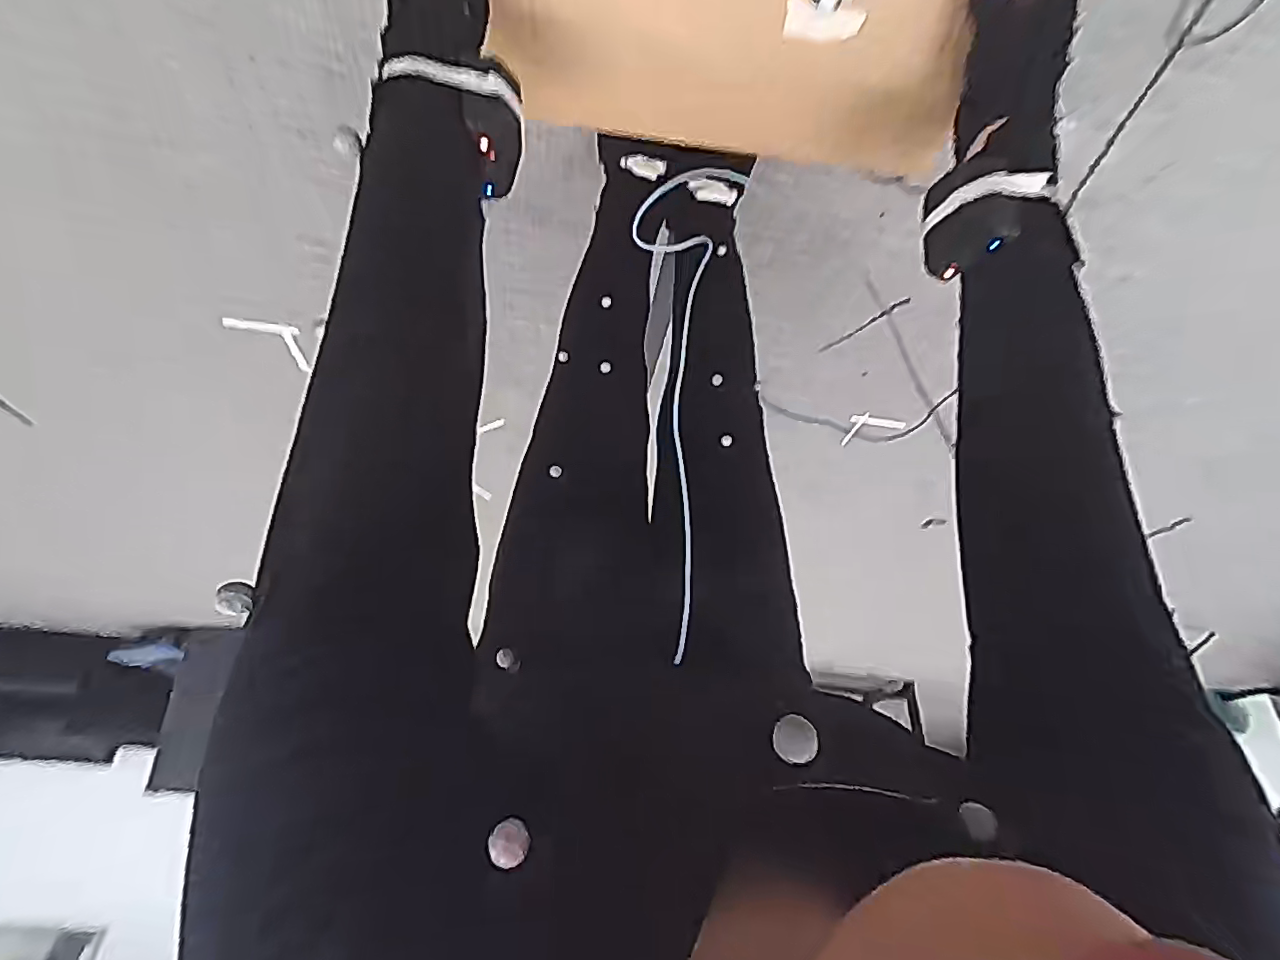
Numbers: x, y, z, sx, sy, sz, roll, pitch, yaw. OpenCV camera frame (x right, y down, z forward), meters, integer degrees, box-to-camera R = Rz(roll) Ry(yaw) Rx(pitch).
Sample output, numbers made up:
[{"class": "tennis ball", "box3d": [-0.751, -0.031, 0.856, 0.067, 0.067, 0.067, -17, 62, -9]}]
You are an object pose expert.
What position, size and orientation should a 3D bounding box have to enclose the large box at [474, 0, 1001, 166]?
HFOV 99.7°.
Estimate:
[{"class": "large box", "box3d": [0.082, -0.514, 0.455, 0.408, 0.320, 0.320, 6, 143, -3]}]
